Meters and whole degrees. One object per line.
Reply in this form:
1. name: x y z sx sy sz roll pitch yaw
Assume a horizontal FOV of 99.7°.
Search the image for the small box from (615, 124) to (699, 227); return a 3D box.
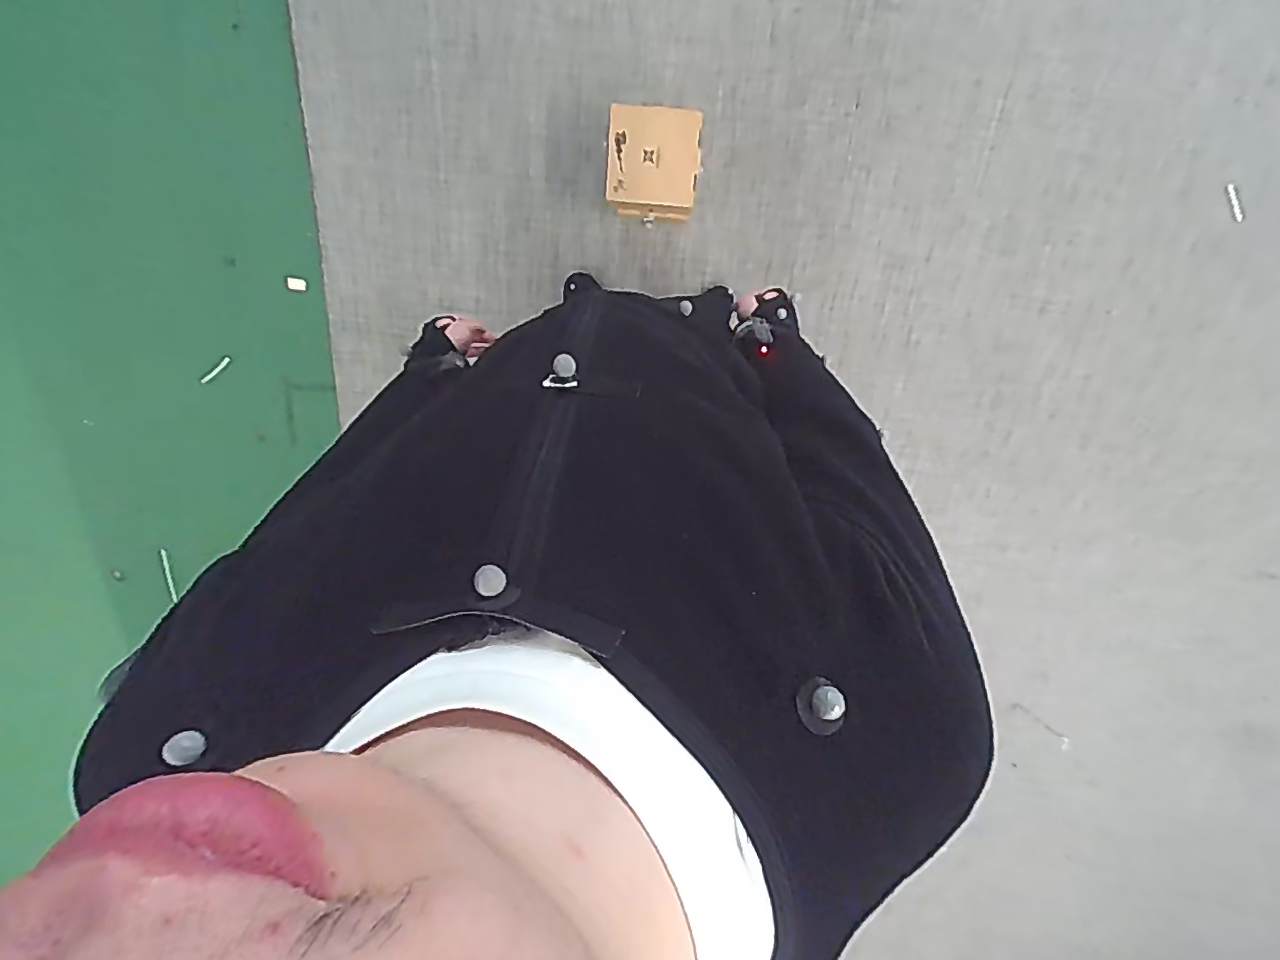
1. small box: 0.039 -0.698 1.256 0.168 0.176 0.179 8 112 1
